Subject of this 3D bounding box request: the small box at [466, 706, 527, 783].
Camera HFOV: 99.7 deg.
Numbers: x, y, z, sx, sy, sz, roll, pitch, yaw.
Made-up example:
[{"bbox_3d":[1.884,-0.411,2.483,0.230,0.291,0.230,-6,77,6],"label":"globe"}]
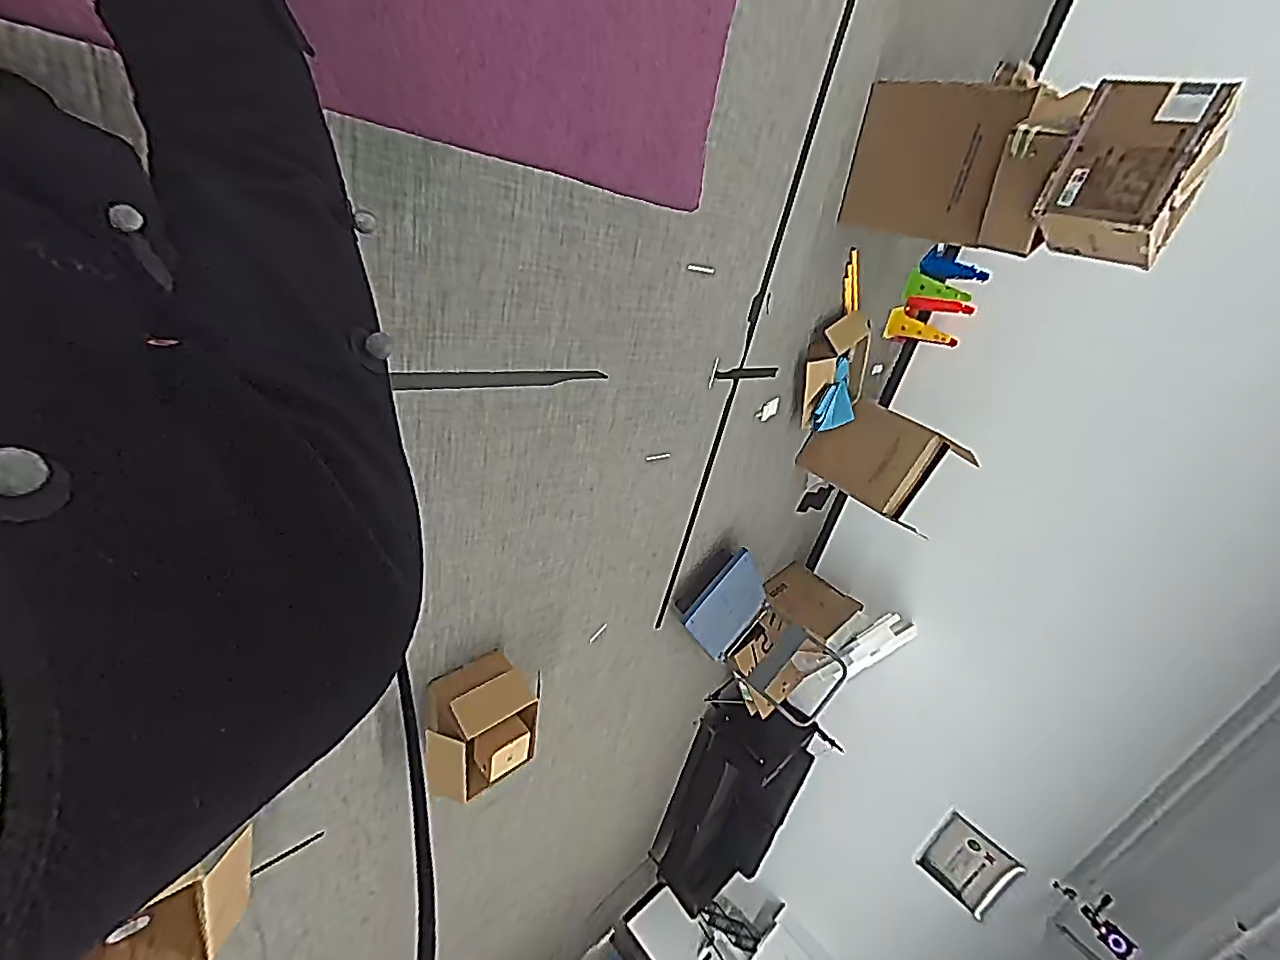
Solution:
[{"bbox_3d":[-0.566,1.028,2.116,0.168,0.176,0.179,-17,129,-42],"label":"small box"}]
